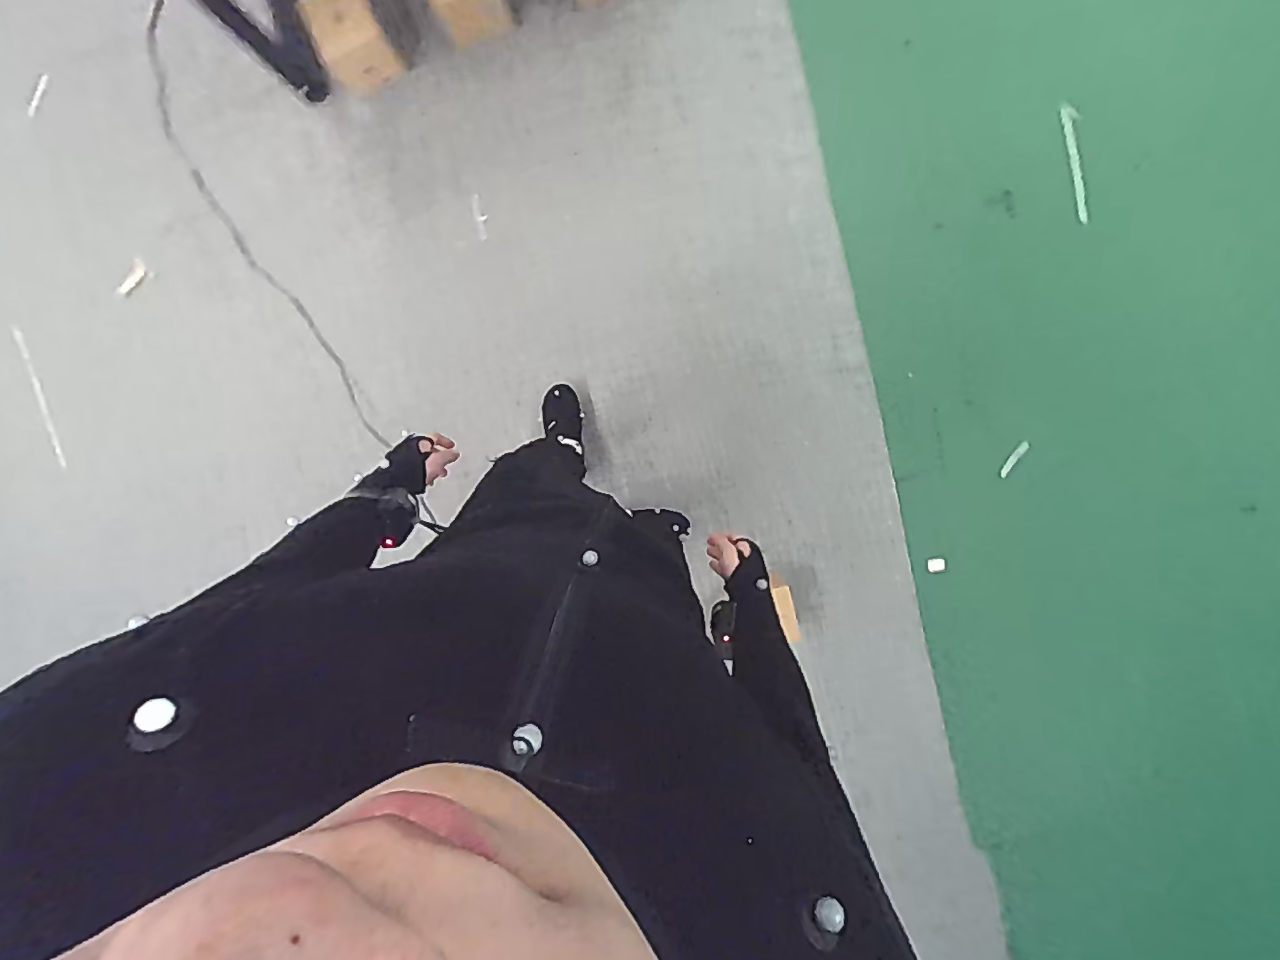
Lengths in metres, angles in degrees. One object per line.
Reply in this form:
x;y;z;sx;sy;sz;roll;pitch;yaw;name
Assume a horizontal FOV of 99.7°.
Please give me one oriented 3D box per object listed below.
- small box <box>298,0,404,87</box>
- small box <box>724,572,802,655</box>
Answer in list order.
-0.776;-1.216;1.466;0.168;0.176;0.179;-23;93;5;small box
0.344;0.376;1.547;0.179;0.176;0.168;-14;95;3;small box
